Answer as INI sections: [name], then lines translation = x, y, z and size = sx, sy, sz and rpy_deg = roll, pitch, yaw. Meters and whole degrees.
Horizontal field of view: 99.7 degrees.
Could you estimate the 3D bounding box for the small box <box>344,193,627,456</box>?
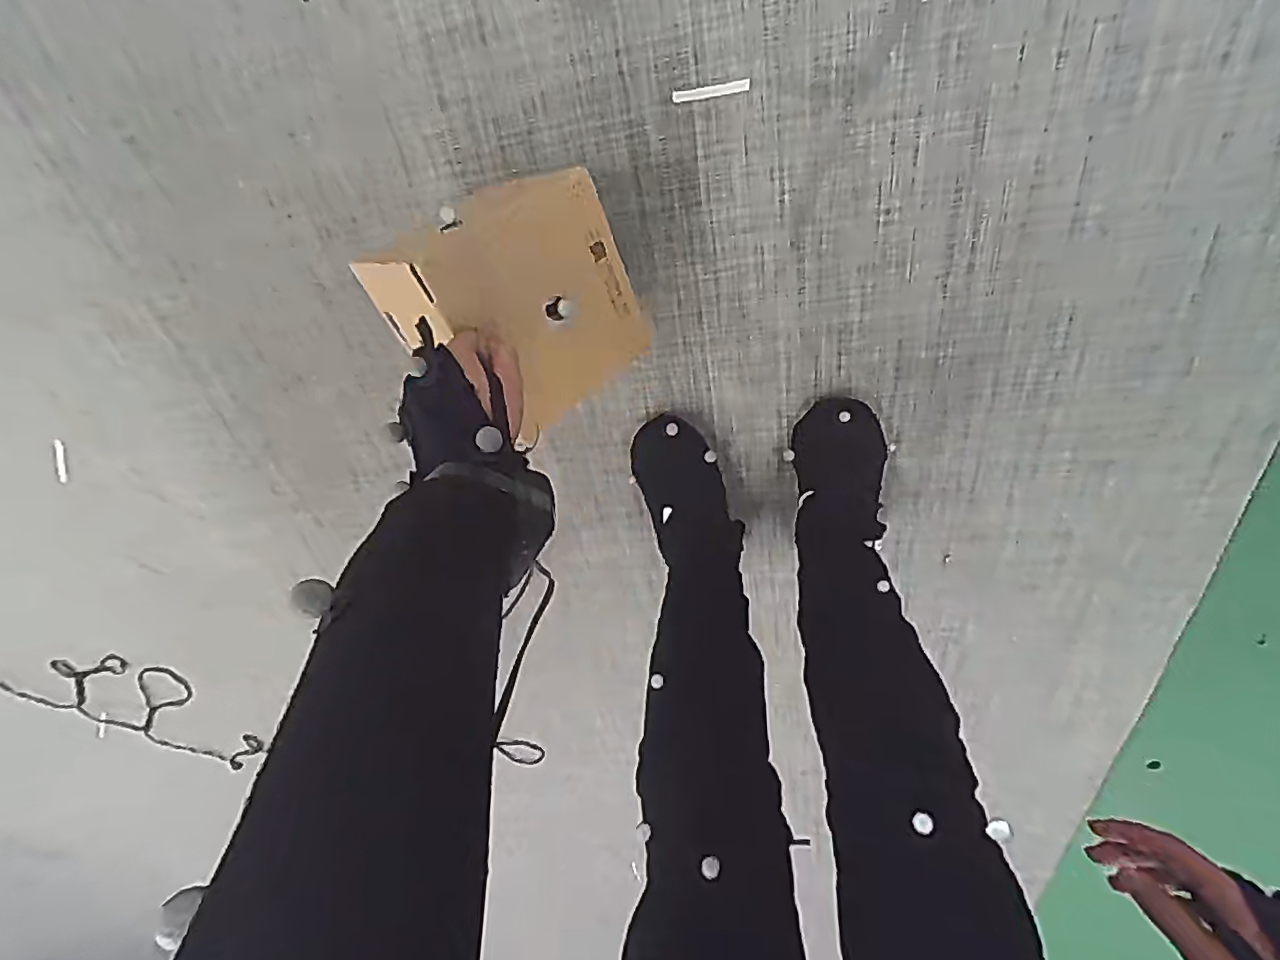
[small box]
translation = -0.133, -0.152, 0.514
size = 0.179, 0.176, 0.168
rpy_deg = 22, 145, 44
